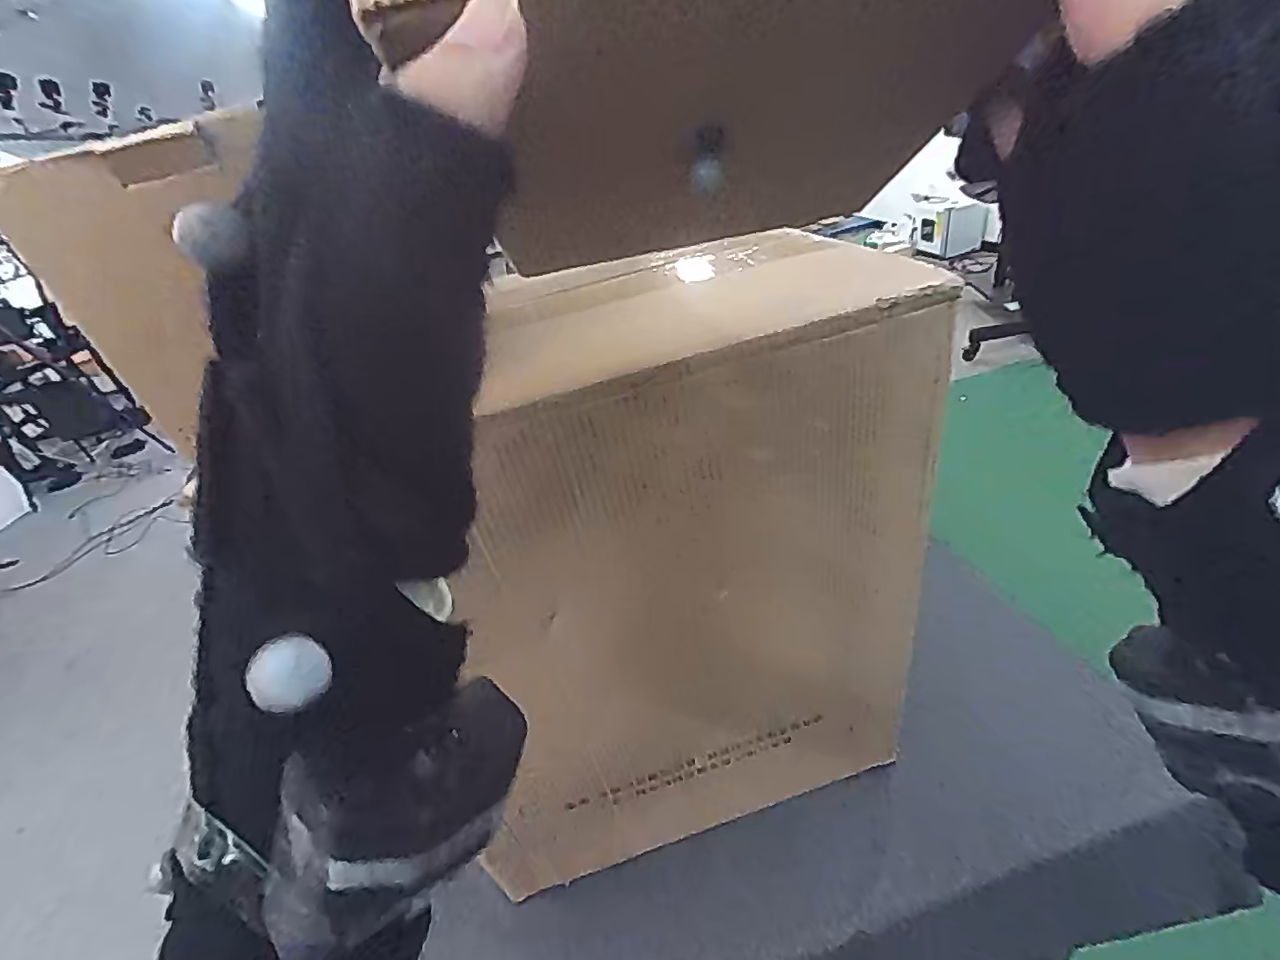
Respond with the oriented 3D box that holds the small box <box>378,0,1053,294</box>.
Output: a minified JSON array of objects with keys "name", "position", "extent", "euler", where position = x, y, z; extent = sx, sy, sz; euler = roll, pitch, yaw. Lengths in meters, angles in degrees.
[{"name":"small box","position":[0.009,-0.190,0.213],"extent":[0.179,0.168,0.176],"euler":[-11,2,1]}]
